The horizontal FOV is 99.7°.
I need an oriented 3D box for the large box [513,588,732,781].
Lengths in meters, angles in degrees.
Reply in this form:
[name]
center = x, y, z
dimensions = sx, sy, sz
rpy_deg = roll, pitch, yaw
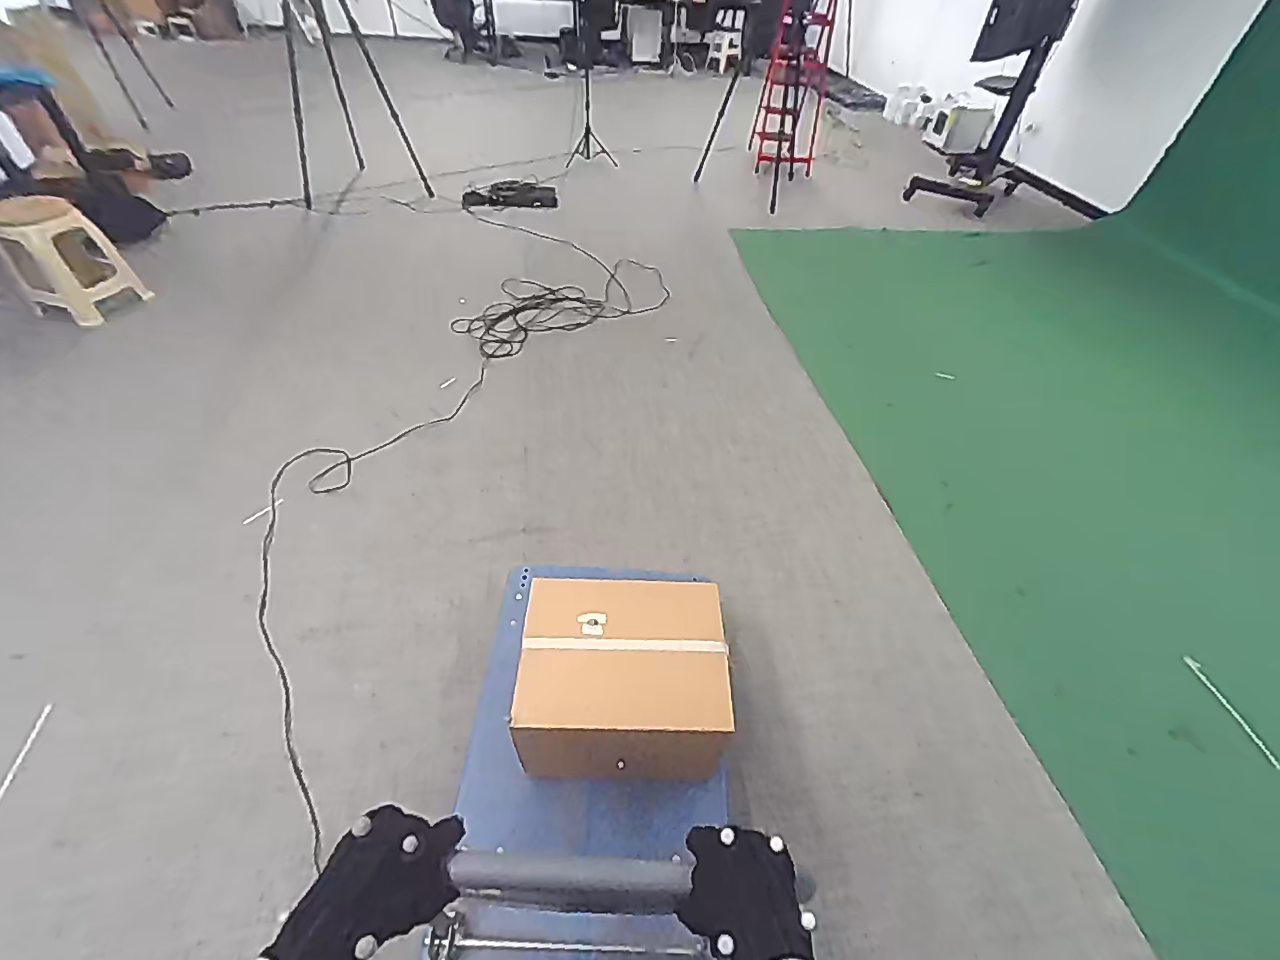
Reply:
[large box]
center = -0.034, 0.450, 1.182
dimensions = 0.408, 0.320, 0.320
rpy_deg = 1, 45, -1
